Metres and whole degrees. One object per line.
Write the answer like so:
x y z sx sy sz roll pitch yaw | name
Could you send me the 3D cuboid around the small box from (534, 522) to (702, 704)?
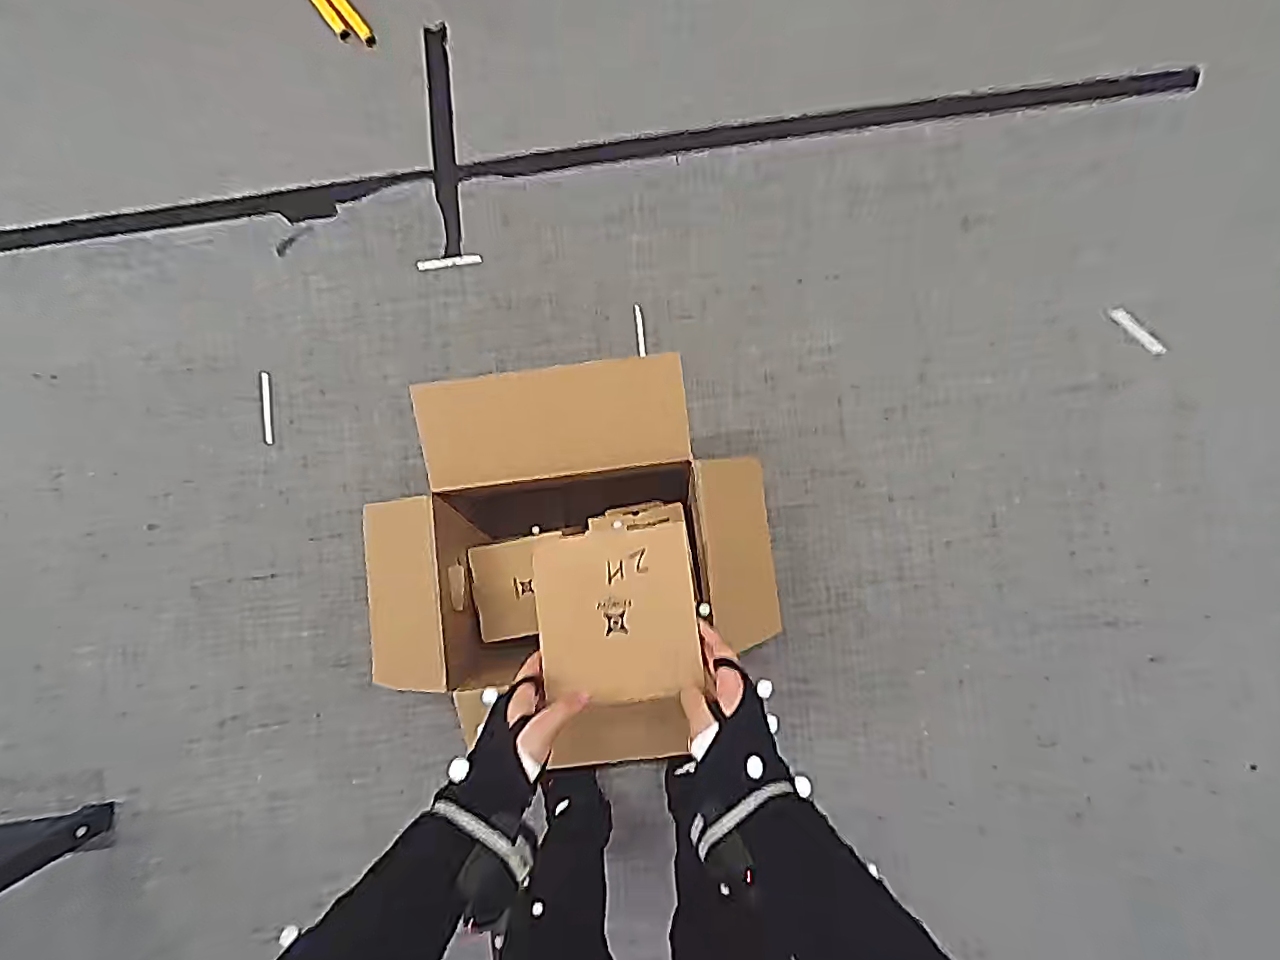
-0.018 0.147 0.643 0.168 0.176 0.179 -7 82 3 | small box
